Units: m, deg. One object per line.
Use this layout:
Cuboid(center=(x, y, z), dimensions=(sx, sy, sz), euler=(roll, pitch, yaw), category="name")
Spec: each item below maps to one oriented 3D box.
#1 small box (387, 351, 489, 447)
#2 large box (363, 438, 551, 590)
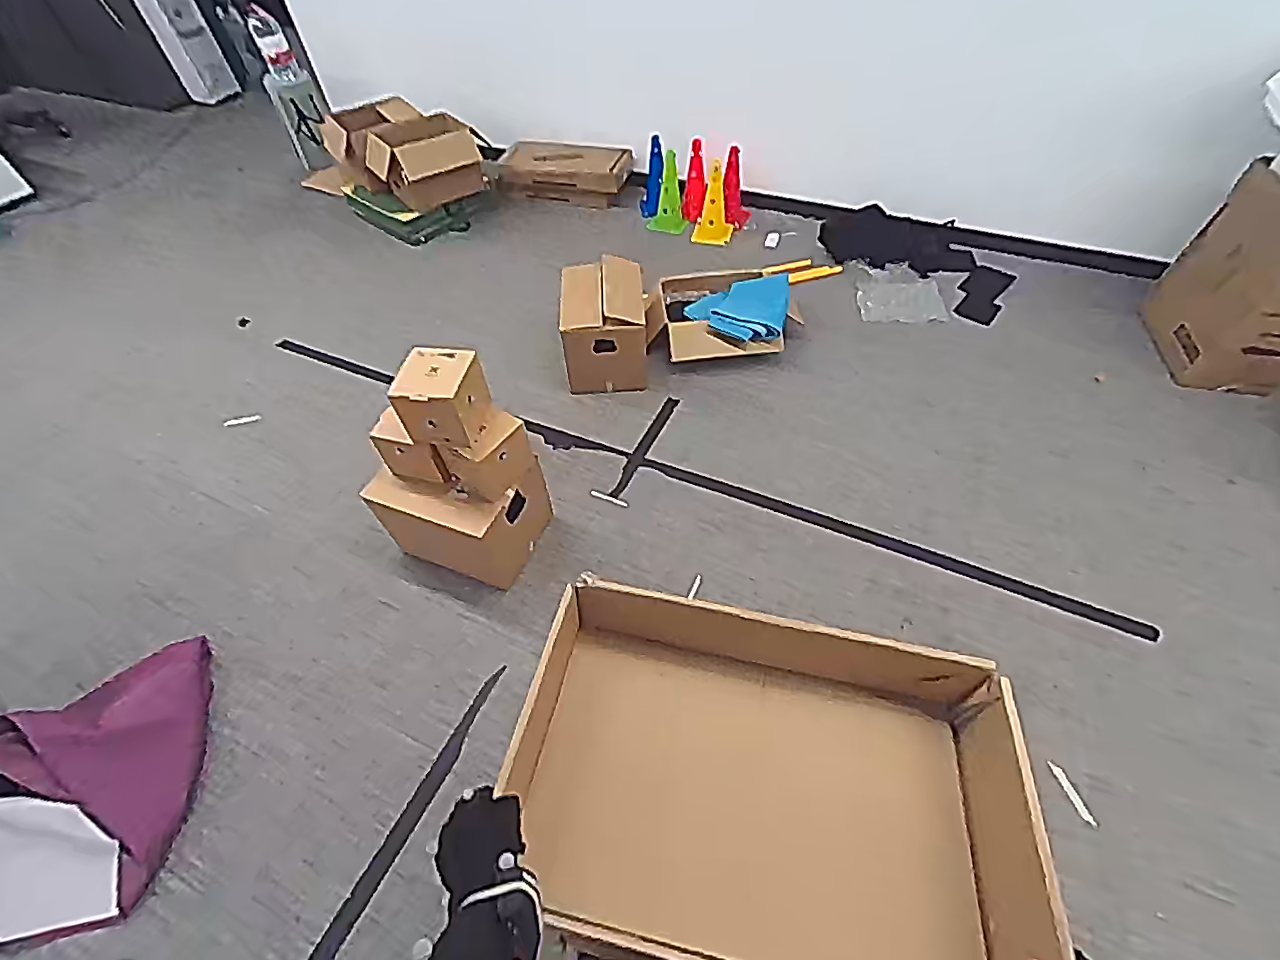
Cuboid(center=(-0.499, -0.201, 1.368), dimensions=(0.168, 0.176, 0.179), euler=(5, 53, 6), category="small box")
Cuboid(center=(-0.536, 0.086, 1.661), dimensions=(0.408, 0.320, 0.320), euler=(16, 55, 13), category="large box")
